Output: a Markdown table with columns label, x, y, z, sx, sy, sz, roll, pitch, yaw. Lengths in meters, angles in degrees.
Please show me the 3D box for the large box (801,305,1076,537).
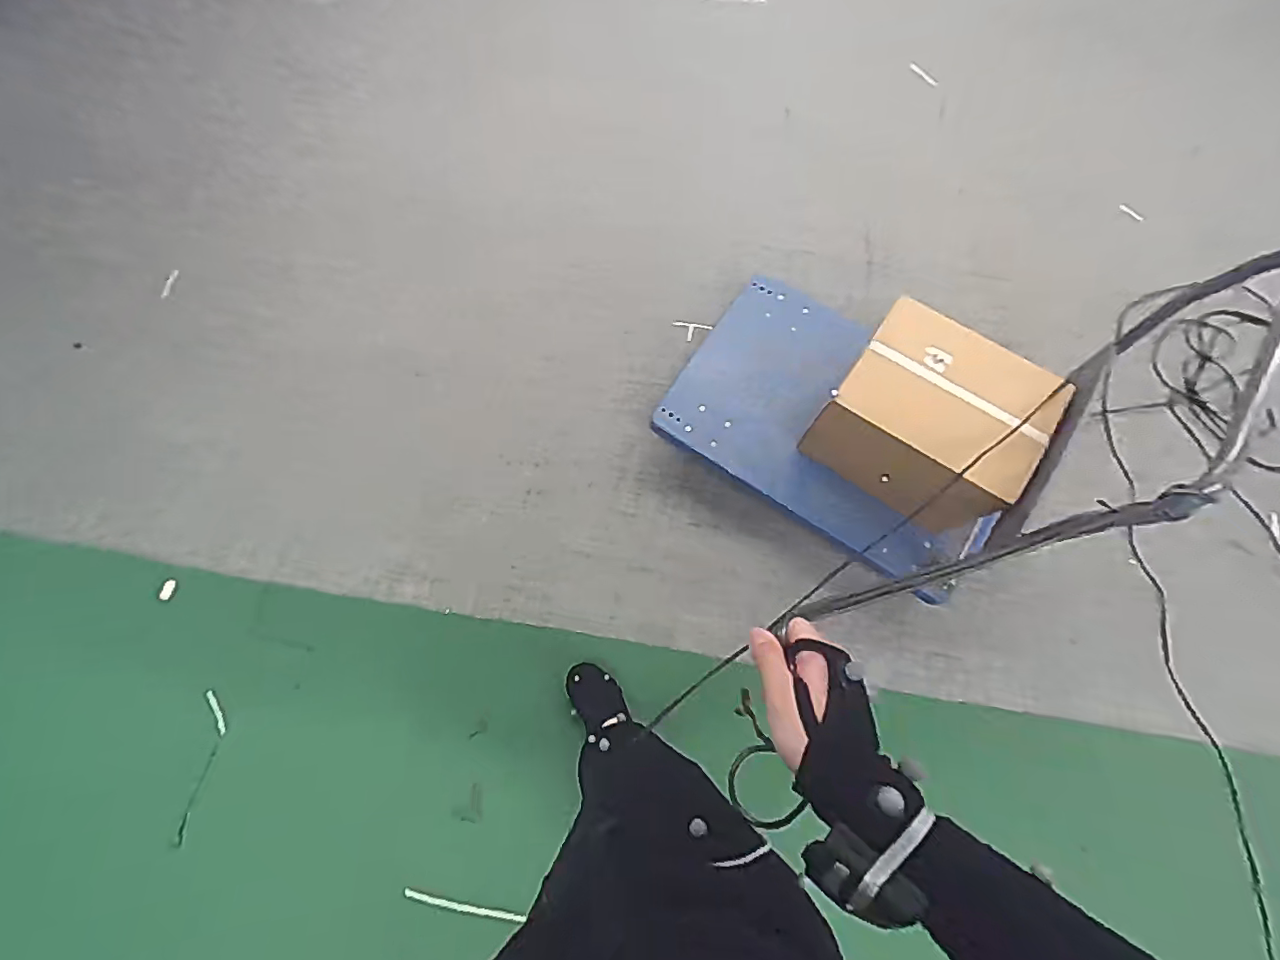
| label | x | y | z | sx | sy | sz | roll | pitch | yaw |
| --- | --- | --- | --- | --- | --- | --- | --- | --- | --- |
| large box | 0.656 | -0.119 | 1.256 | 0.408 | 0.320 | 0.320 | 34 | 77 | 11 |
